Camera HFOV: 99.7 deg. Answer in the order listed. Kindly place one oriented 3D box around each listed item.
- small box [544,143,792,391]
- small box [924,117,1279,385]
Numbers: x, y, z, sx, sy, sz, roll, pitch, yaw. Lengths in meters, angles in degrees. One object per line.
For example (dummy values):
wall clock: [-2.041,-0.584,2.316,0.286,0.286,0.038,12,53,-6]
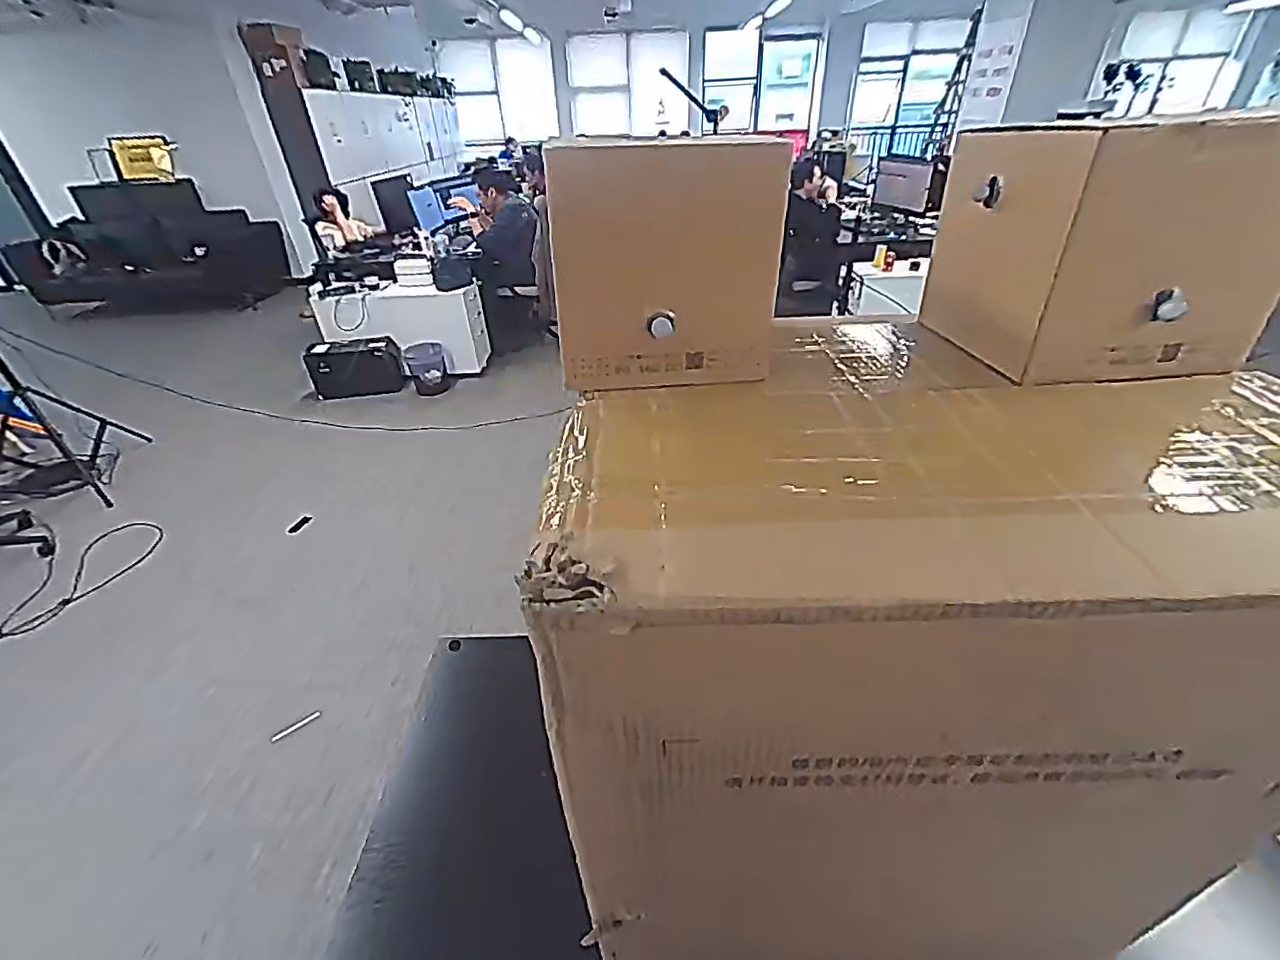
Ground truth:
small box: [0.012,-0.186,0.460,0.168,0.176,0.179,-4,33,-5]
small box: [0.361,-0.187,0.438,0.168,0.176,0.179,-4,32,1]
